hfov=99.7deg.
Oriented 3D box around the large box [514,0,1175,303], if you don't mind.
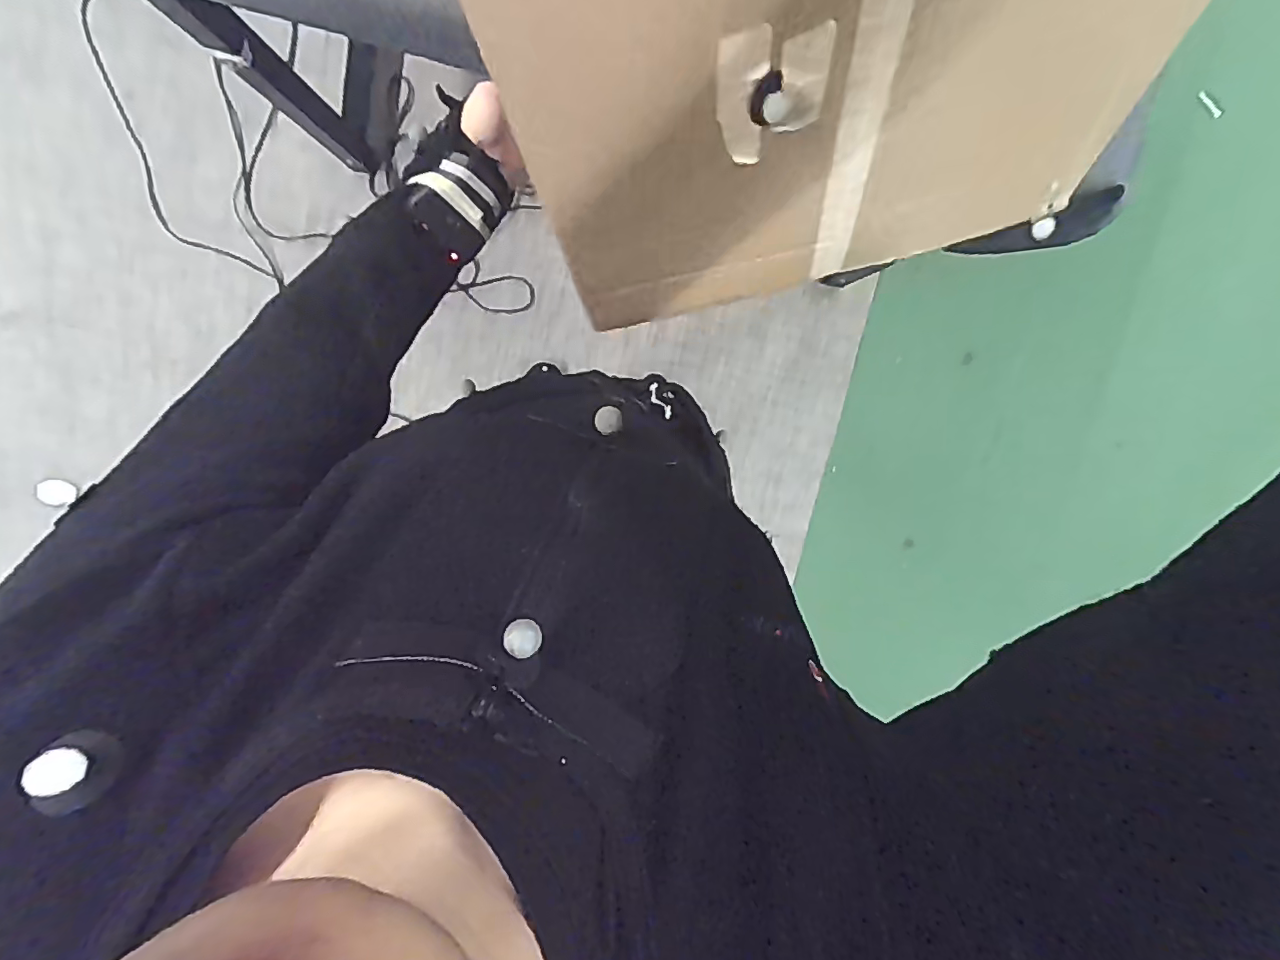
[{"bbox_3d":[0.066,-0.360,0.234,0.320,0.408,0.320,-15,71,5],"label":"large box"}]
